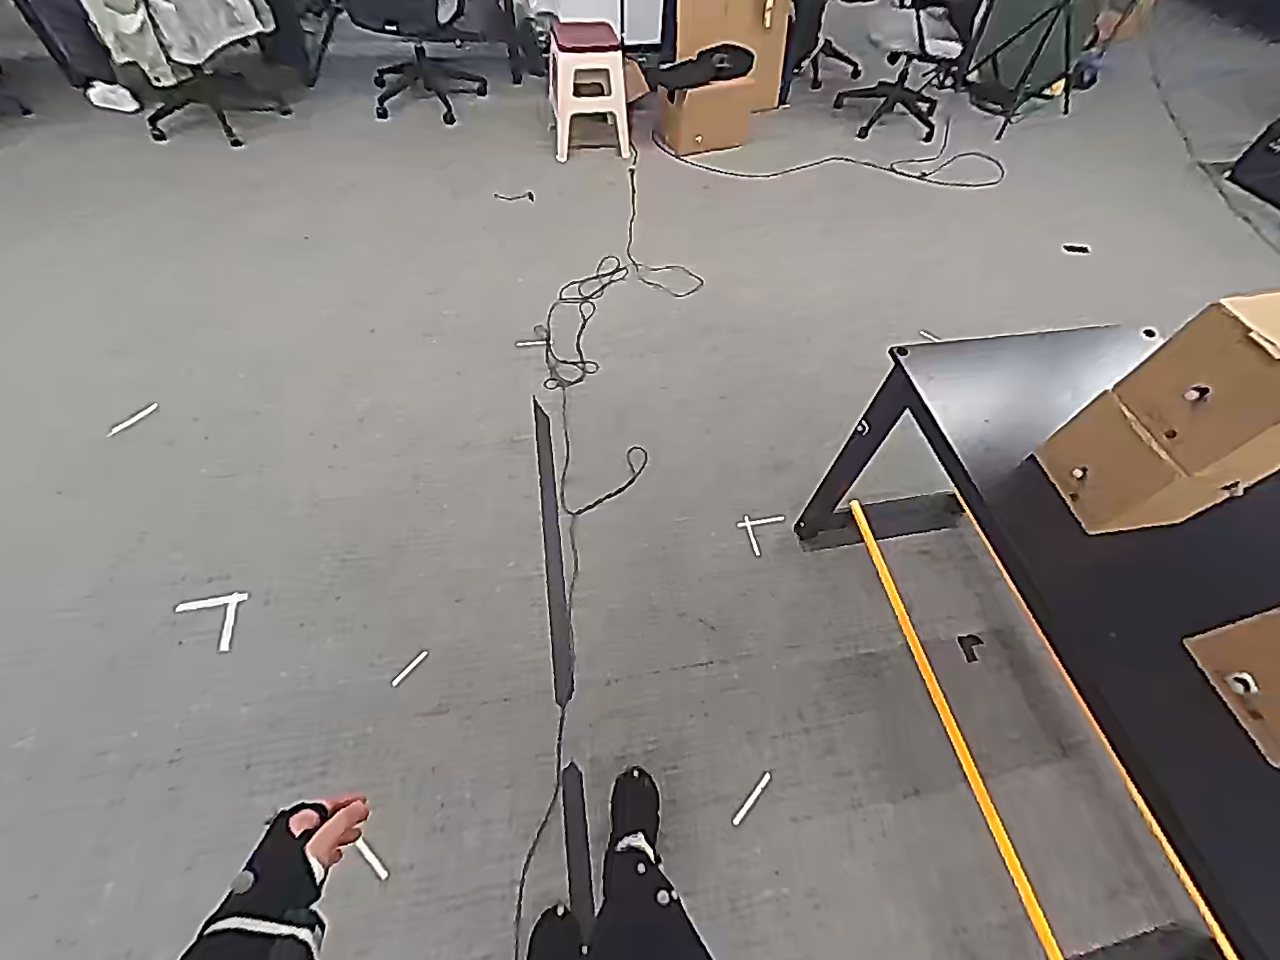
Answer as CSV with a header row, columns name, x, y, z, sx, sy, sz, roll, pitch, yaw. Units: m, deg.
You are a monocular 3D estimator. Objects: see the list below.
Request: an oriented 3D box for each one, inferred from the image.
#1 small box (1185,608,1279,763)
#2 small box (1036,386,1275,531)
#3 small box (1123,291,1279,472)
name,x,y,z,sx,sy,sz,roll,pitch,yaw
small box,0.876,0.243,0.681,0.179,0.176,0.168,-9,57,-9
small box,0.789,-0.035,0.853,0.179,0.176,0.168,-6,57,-8
small box,0.808,-0.127,0.719,0.179,0.176,0.168,-9,58,-9
